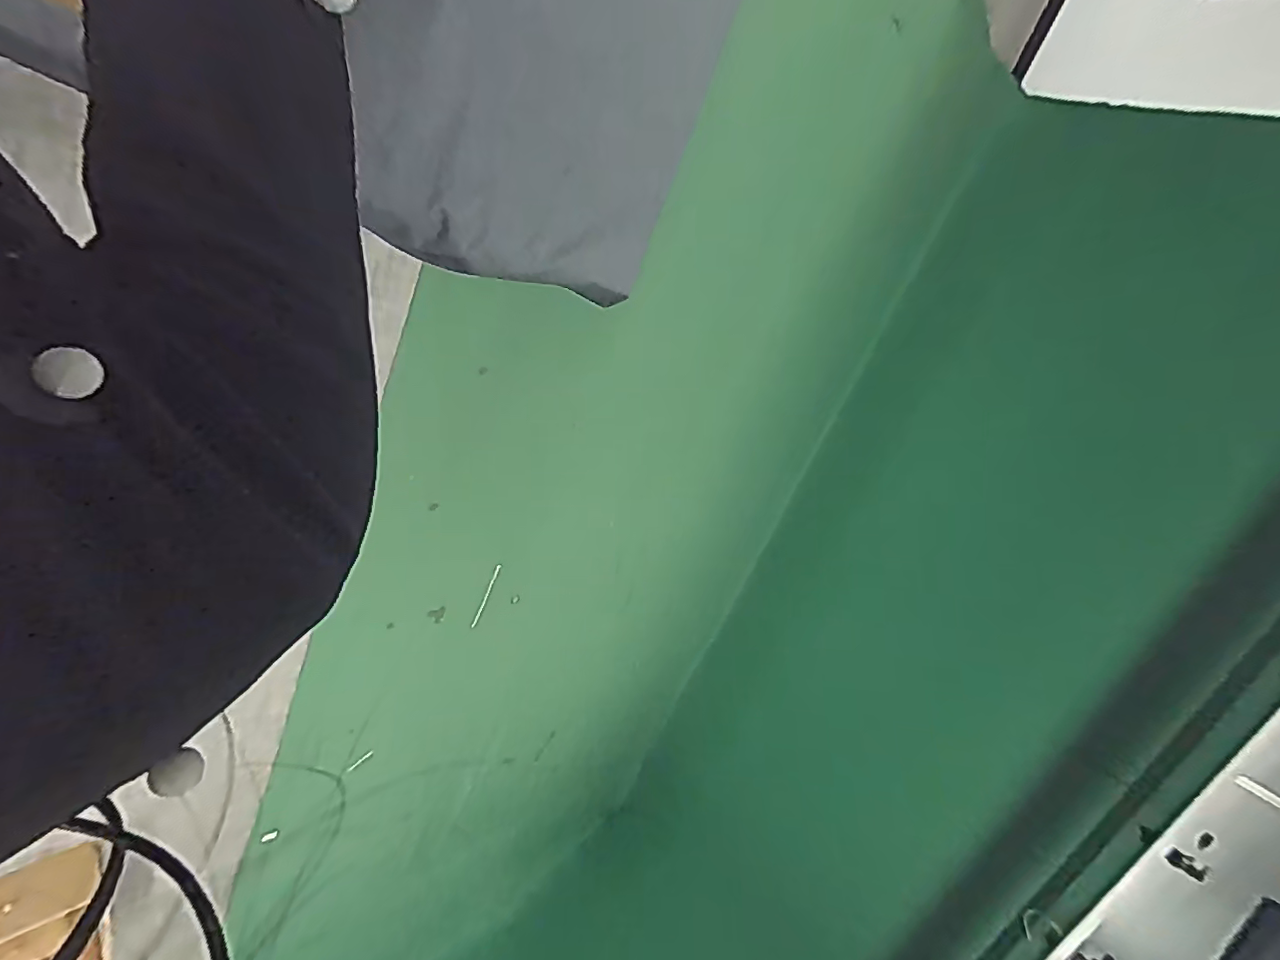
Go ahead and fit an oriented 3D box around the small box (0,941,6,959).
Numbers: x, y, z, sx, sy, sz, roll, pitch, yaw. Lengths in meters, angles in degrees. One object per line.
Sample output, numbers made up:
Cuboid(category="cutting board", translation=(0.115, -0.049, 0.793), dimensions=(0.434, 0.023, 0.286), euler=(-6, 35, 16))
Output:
Cuboid(category="small box", translation=(-1.716, 1.322, 1.350), dimensions=(0.179, 0.176, 0.168), euler=(-3, 119, -48))
